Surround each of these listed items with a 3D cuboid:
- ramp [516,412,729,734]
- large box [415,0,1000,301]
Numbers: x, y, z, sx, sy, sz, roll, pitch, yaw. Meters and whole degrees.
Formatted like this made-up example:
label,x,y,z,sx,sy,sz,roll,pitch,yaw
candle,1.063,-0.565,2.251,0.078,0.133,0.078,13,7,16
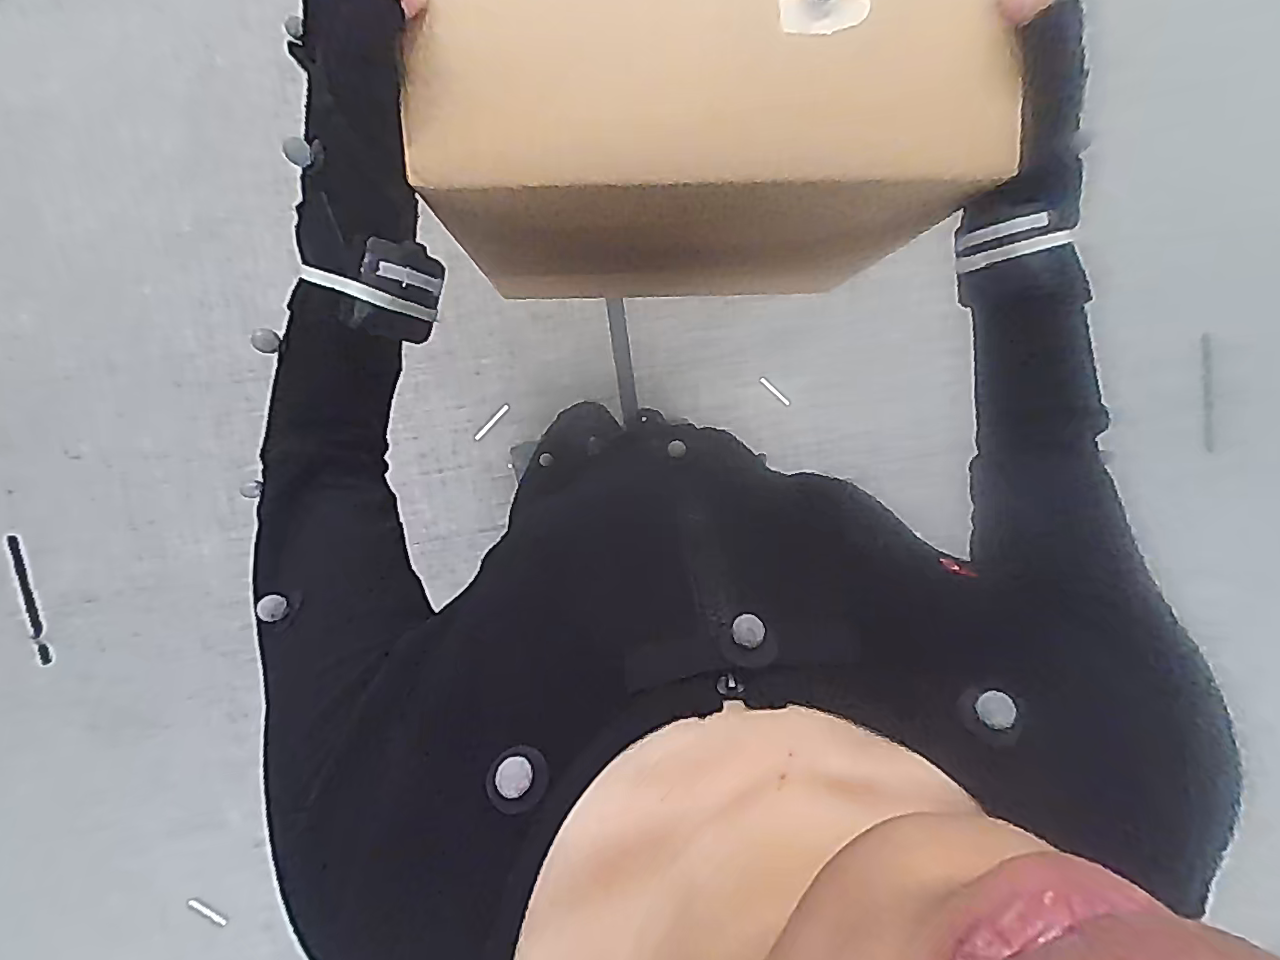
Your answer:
label,x,y,z,sx,sy,sz,roll,pitch,yaw
ramp,-0.019,0.320,1.619,0.509,0.206,0.991,-12,98,-2
large box,0.038,-0.369,0.508,0.408,0.320,0.320,-3,95,-3
